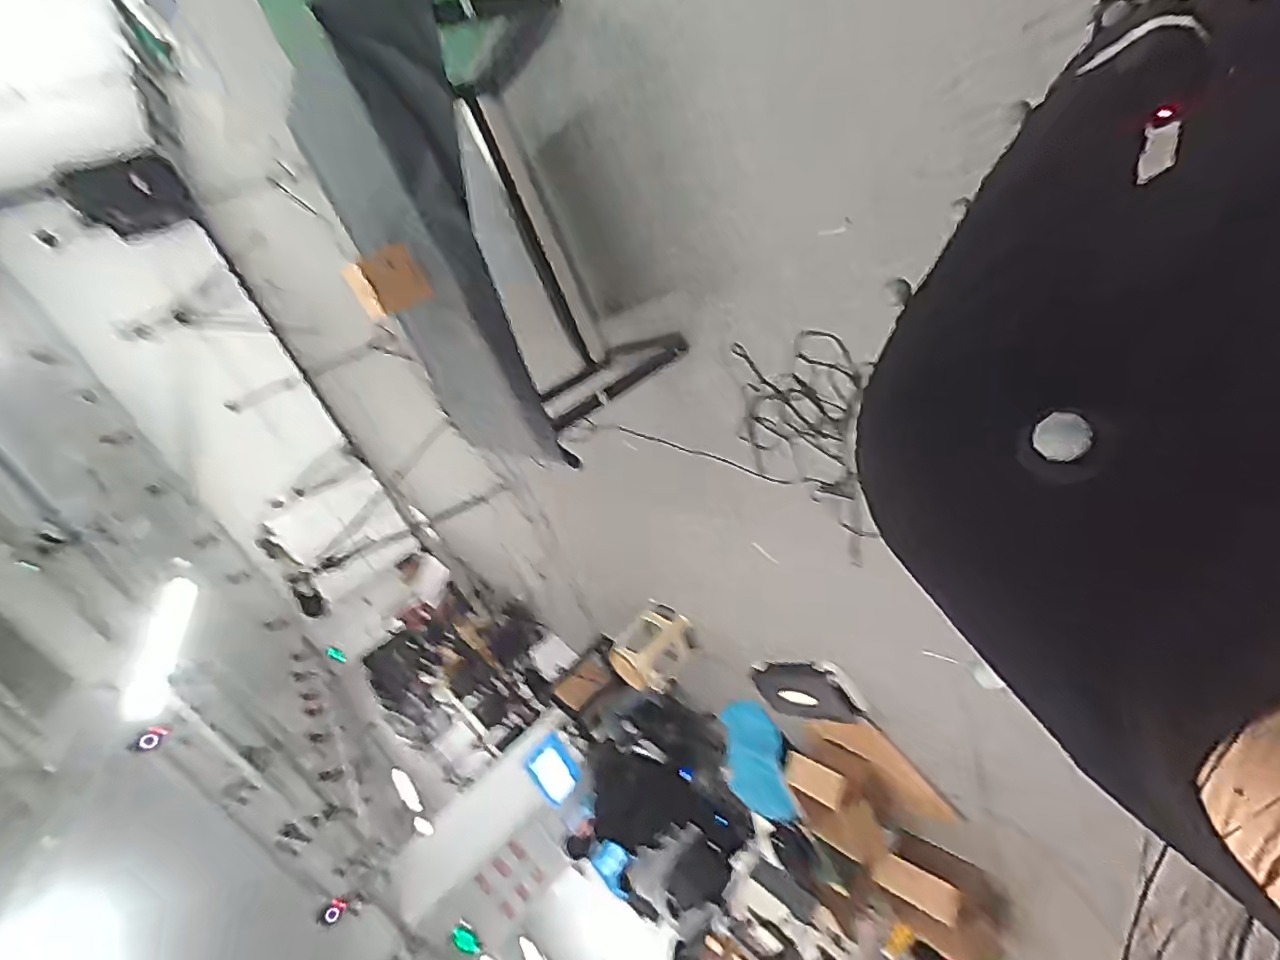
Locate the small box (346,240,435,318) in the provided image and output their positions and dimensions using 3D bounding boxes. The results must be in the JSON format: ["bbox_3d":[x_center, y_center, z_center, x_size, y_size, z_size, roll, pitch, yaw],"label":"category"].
[{"bbox_3d":[-0.737,-0.598,1.609,0.179,0.176,0.168,14,131,51],"label":"small box"}]
